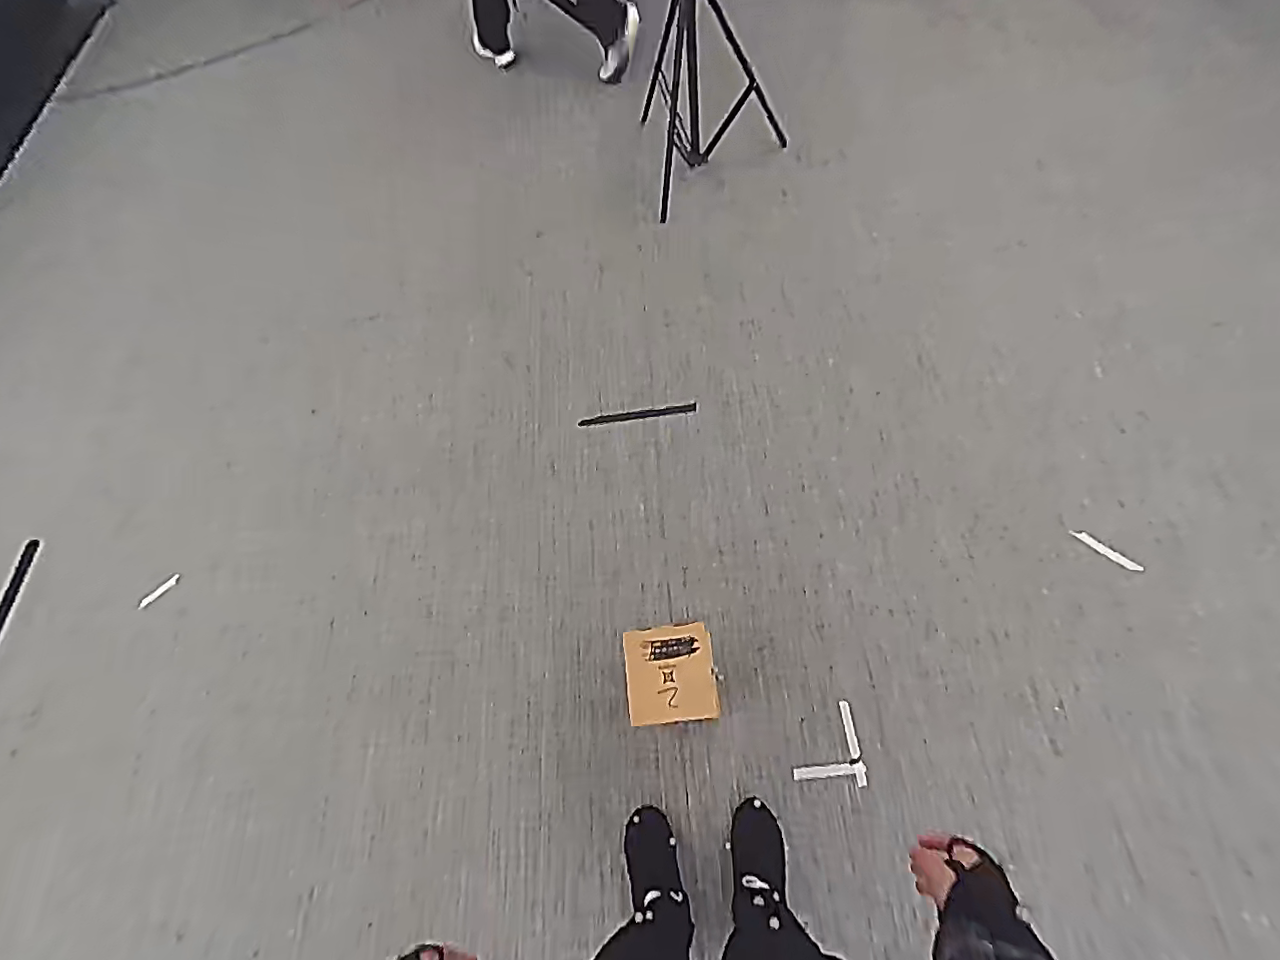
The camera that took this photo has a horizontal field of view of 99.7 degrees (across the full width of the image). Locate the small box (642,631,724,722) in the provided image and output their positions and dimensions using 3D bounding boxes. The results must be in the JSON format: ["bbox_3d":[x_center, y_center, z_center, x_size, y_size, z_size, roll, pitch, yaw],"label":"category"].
[{"bbox_3d":[0.099,0.459,1.253,0.168,0.176,0.179,-8,65,4],"label":"small box"}]
